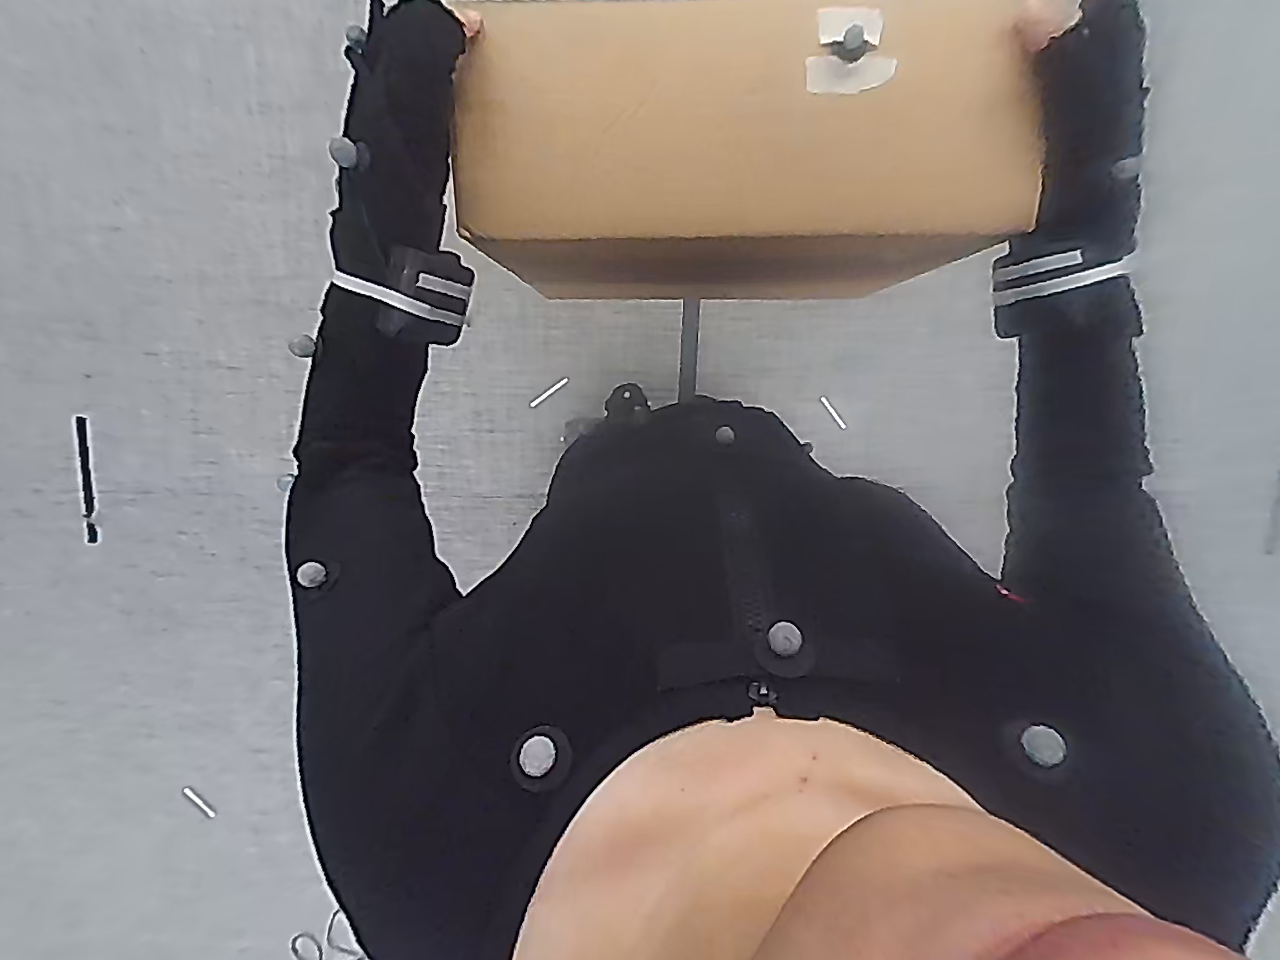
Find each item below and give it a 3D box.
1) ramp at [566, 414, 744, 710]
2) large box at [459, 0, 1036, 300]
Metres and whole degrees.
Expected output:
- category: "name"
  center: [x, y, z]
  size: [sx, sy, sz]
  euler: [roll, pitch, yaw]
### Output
- category: "ramp"
  center: [0.038, 0.293, 1.634]
  size: [0.509, 0.206, 0.991]
  euler: [-1, 99, -1]
- category: "large box"
  center: [0.072, -0.359, 0.516]
  size: [0.408, 0.320, 0.320]
  euler: [0, 101, 1]
